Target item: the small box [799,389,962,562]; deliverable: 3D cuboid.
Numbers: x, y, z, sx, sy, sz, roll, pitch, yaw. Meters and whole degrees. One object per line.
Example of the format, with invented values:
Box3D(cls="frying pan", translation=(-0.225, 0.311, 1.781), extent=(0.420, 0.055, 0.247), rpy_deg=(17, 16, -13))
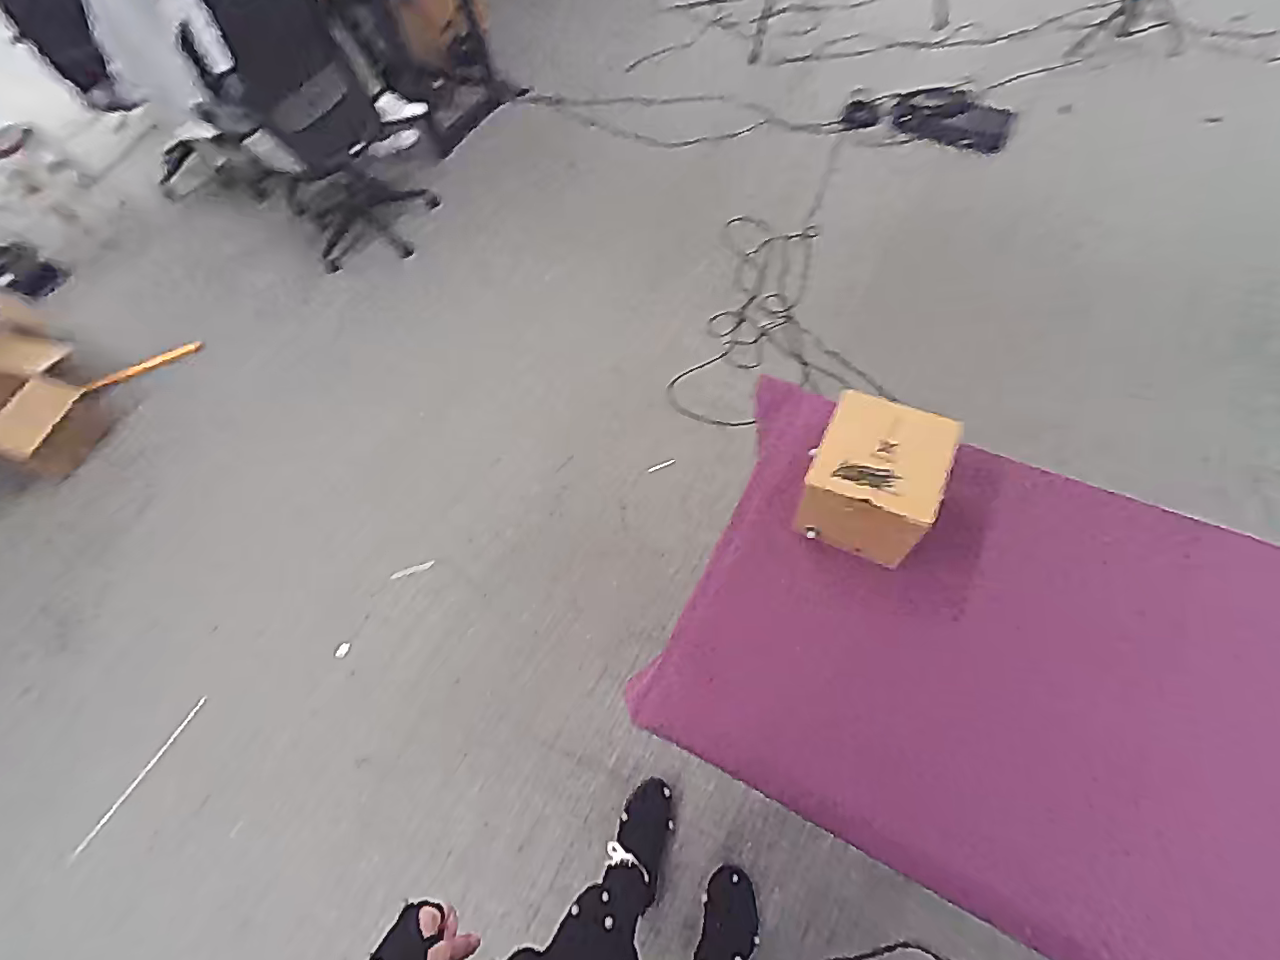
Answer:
Box3D(cls="small box", translation=(0.350, -0.001, 0.818), extent=(0.168, 0.176, 0.179), rpy_deg=(23, 66, 19))
